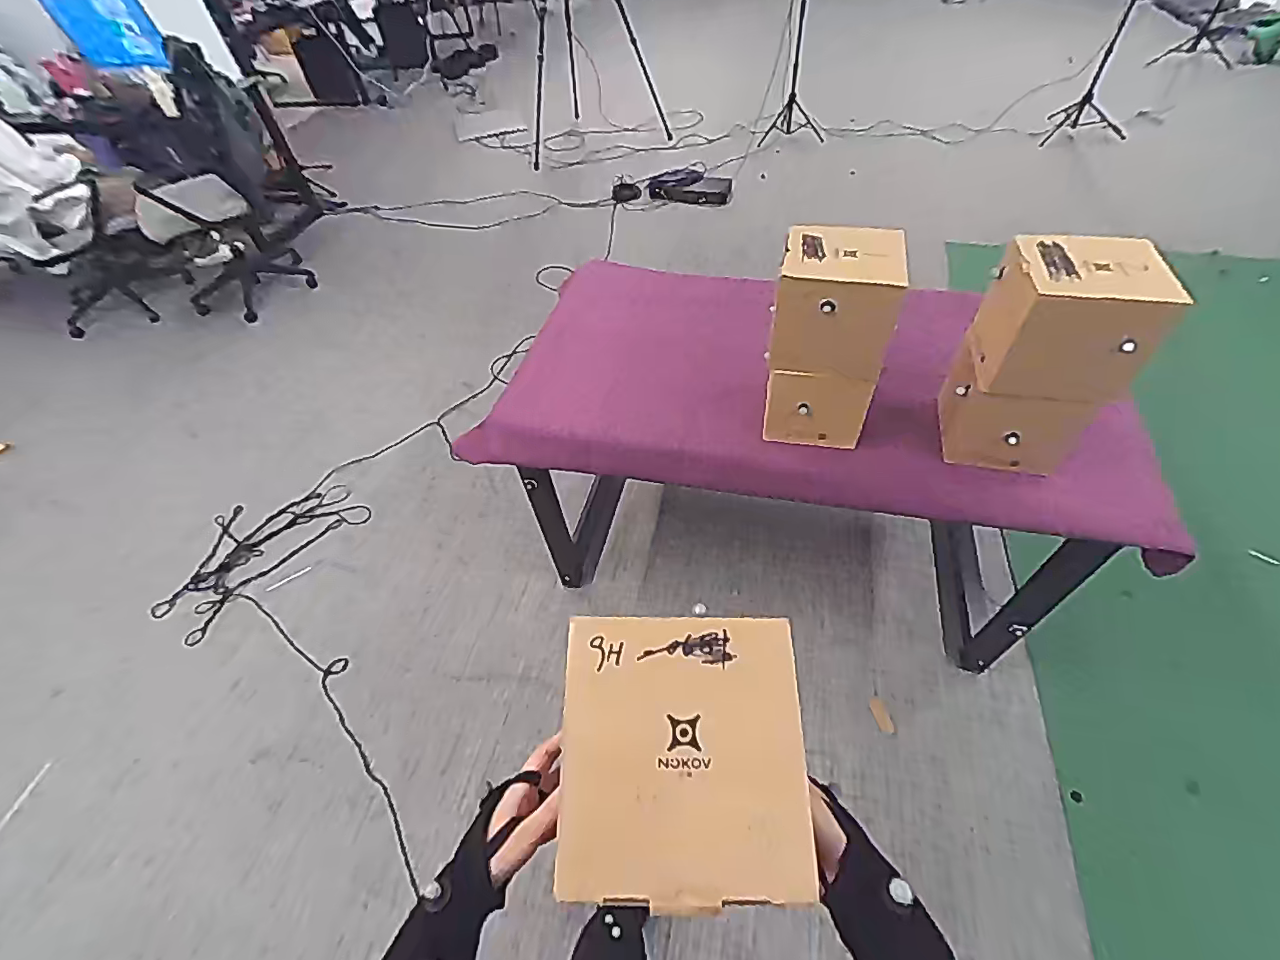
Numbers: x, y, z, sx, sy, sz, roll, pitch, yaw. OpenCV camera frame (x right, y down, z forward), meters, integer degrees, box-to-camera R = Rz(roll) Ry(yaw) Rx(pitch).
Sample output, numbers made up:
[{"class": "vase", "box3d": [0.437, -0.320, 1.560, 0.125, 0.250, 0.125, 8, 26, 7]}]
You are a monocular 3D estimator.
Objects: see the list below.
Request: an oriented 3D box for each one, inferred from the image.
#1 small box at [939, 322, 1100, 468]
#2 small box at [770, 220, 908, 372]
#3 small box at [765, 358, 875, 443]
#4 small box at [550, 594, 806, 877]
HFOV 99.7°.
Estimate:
[{"class": "small box", "box3d": [0.627, -0.142, 0.922, 0.168, 0.176, 0.179, 10, 52, 13]}, {"class": "small box", "box3d": [0.310, -0.292, 0.865, 0.179, 0.176, 0.168, 10, 51, 13]}, {"class": "small box", "box3d": [0.323, -0.188, 0.992, 0.168, 0.176, 0.179, 7, 50, 11]}, {"class": "small box", "box3d": [0.026, 0.198, 0.446, 0.168, 0.176, 0.179, 1, 66, 0]}]
